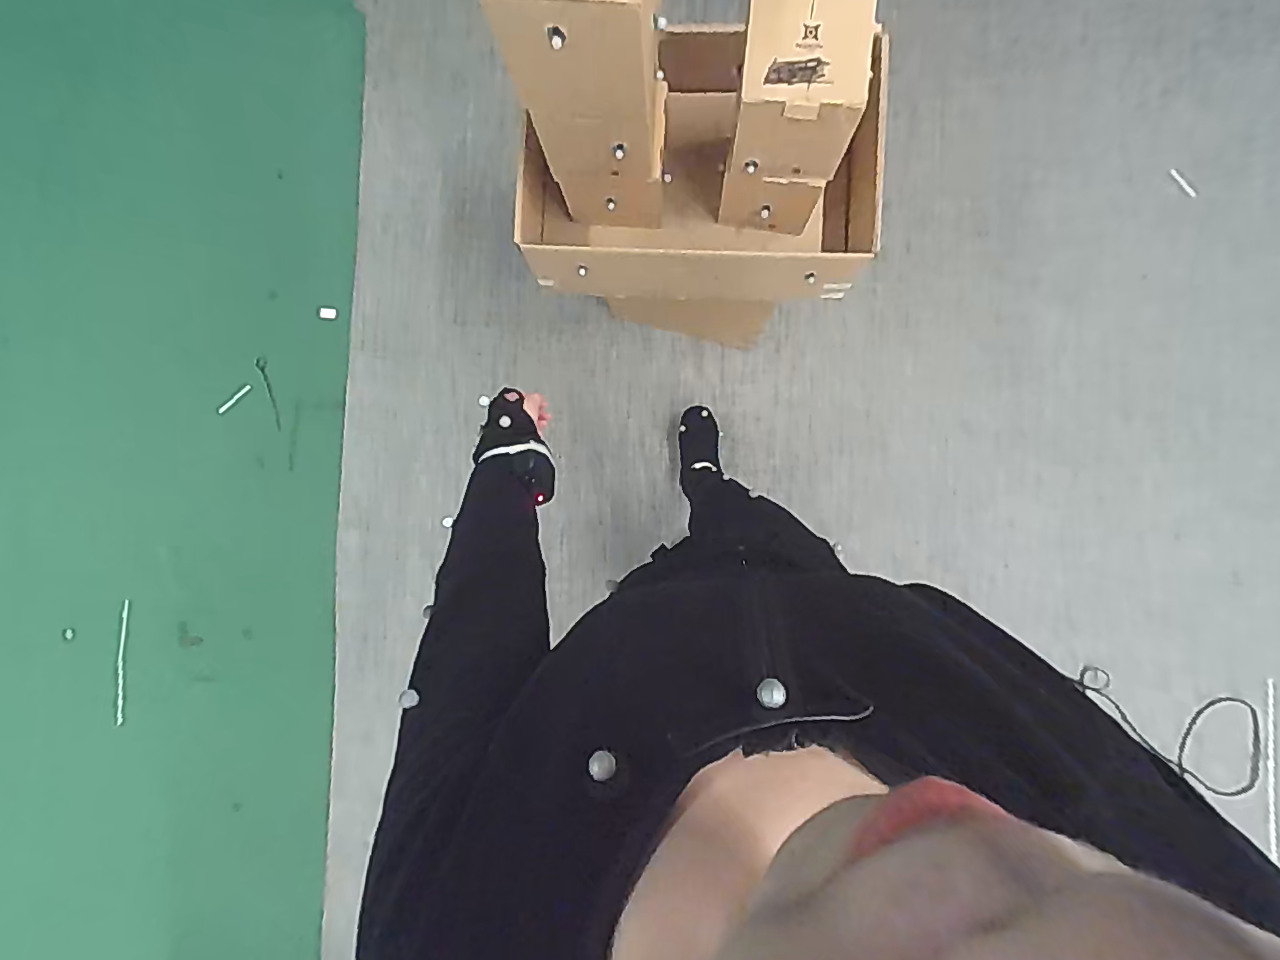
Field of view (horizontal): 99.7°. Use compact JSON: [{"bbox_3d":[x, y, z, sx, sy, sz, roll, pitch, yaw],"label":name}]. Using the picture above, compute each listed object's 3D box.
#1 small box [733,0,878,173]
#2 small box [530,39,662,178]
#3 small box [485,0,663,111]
[{"bbox_3d":[0.230,-0.579,0.786,0.168,0.176,0.179,6,88,5],"label":"small box"},{"bbox_3d":[-0.056,-0.582,0.810,0.168,0.176,0.179,4,88,4],"label":"small box"},{"bbox_3d":[-0.071,-0.579,0.646,0.179,0.176,0.168,7,90,4],"label":"small box"}]
